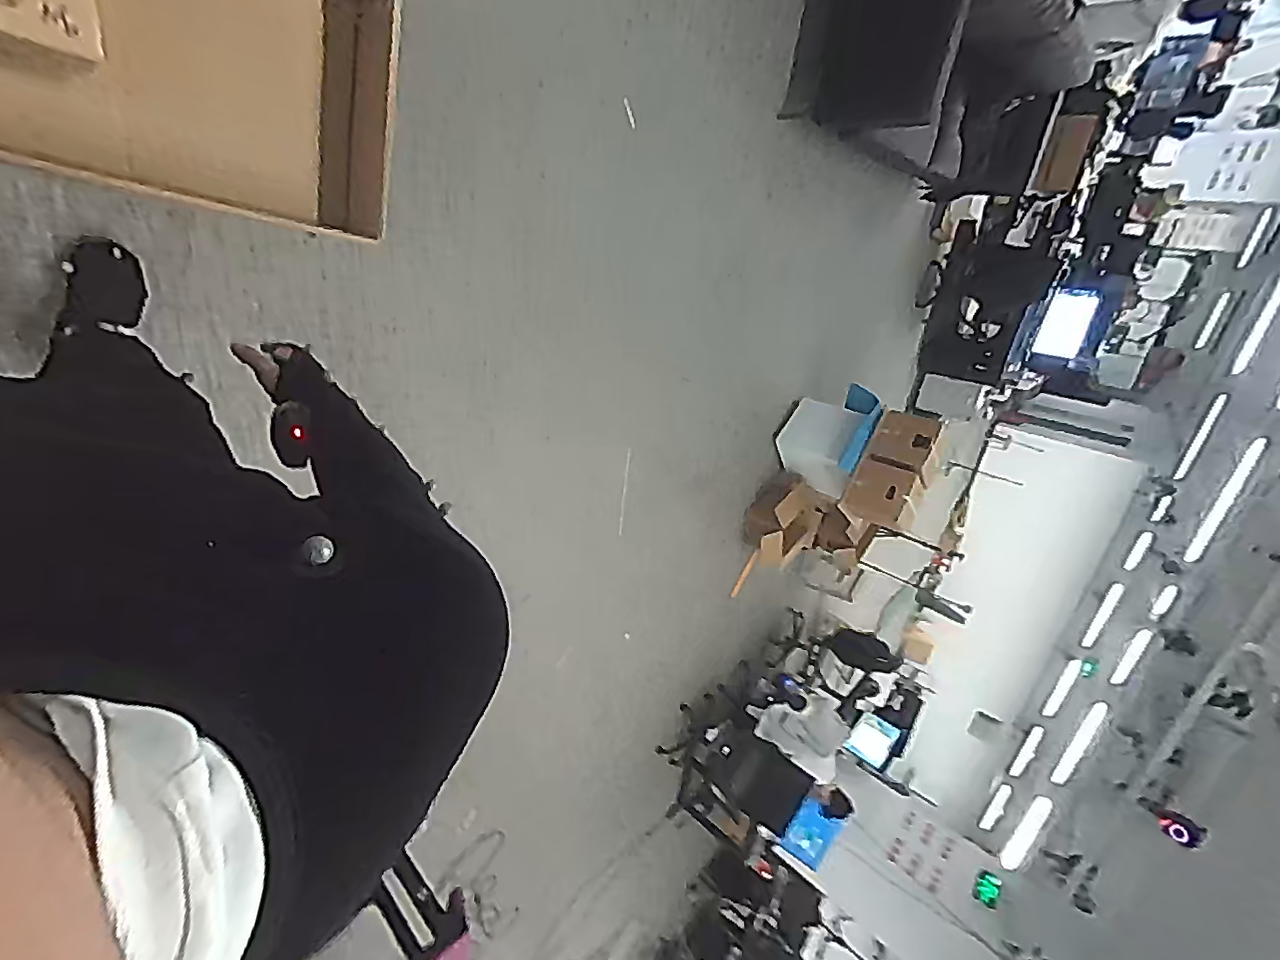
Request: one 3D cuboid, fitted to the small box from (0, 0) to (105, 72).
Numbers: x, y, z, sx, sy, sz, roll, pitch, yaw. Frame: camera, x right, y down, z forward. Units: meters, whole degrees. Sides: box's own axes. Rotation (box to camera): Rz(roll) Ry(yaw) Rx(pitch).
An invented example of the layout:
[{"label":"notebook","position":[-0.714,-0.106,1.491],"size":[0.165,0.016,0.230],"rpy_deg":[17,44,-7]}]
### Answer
[{"label":"small box","position":[-0.643,-0.527,0.514],"size":[0.168,0.176,0.179],"rpy_deg":[-10,119,-46]}]
